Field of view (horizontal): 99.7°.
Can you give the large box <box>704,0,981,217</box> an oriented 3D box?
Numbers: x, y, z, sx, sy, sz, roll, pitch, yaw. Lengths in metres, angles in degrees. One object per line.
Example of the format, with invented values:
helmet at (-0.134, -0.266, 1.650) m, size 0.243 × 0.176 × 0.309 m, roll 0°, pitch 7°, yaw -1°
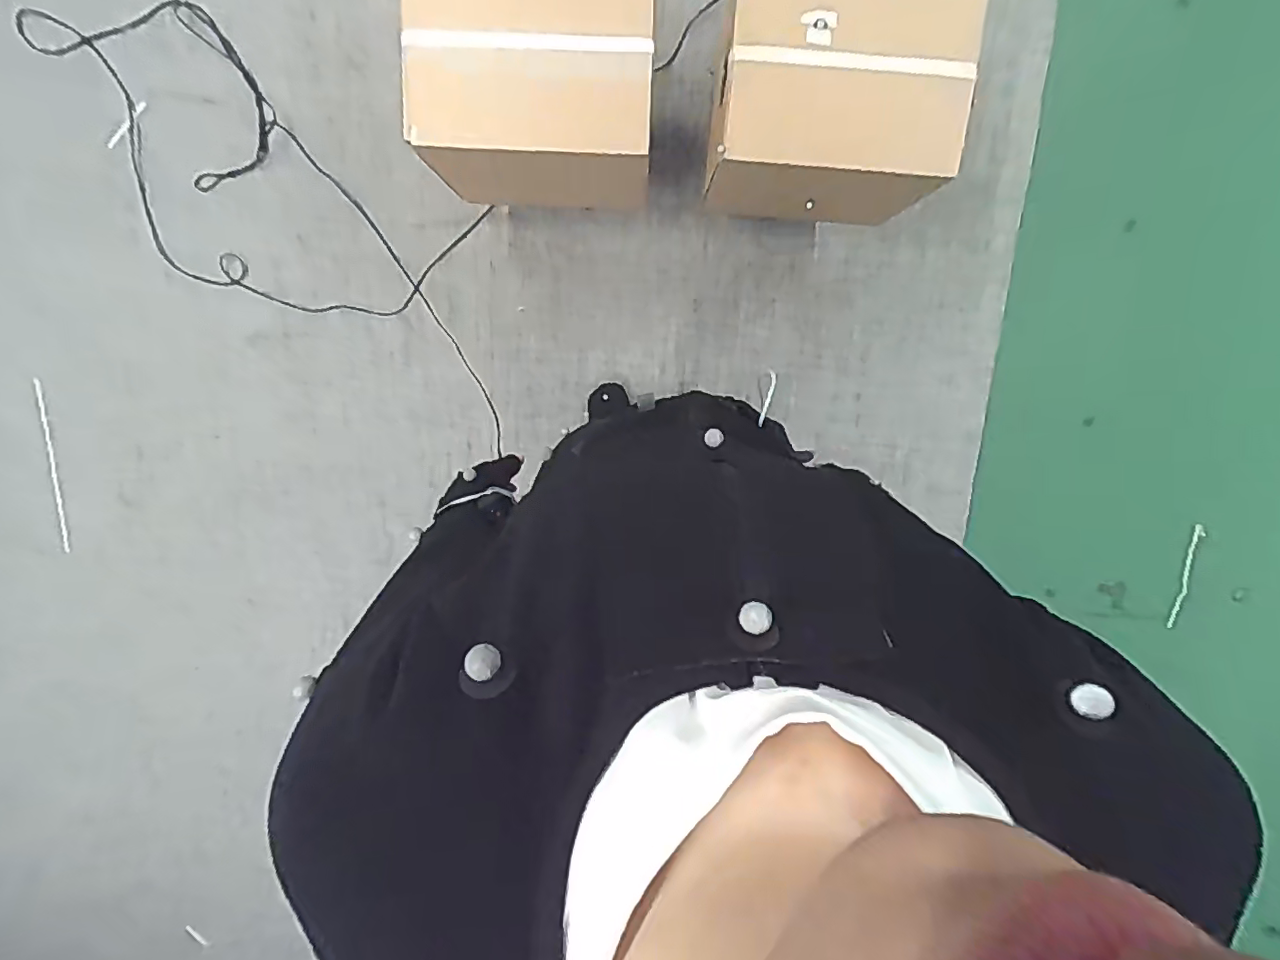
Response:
large box at (0.351, -0.718, 1.043) m, size 0.408 × 0.320 × 0.320 m, roll 4°, pitch 101°, yaw -1°
